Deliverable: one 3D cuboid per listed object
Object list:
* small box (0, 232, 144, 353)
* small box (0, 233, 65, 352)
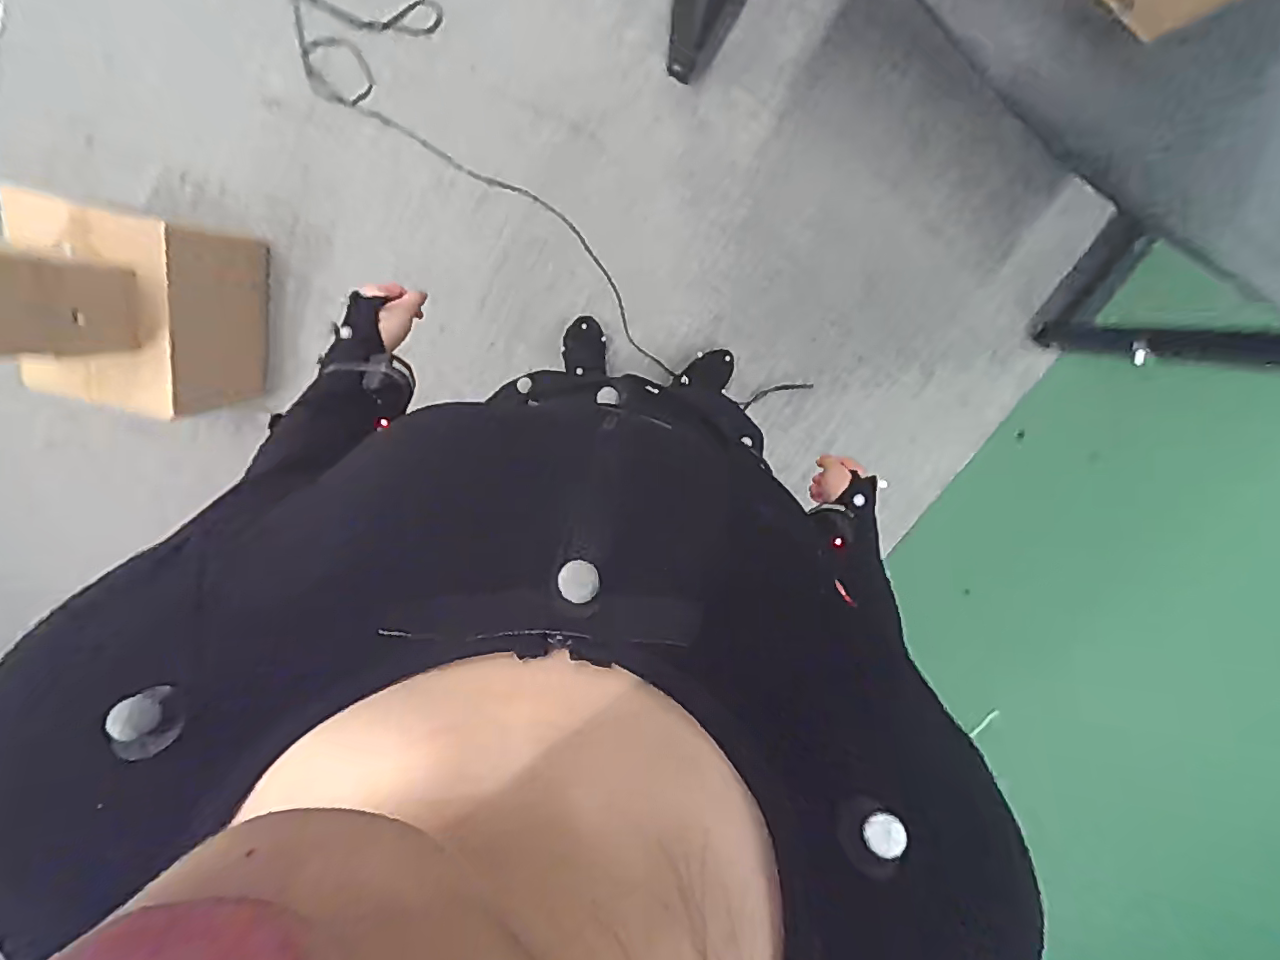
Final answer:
[{"bbox_3d":[-1.087,-0.351,1.019,0.168,0.176,0.179,14,107,-5],"label":"small box"},{"bbox_3d":[-1.083,-0.313,0.860,0.168,0.176,0.179,14,108,-5],"label":"small box"}]
